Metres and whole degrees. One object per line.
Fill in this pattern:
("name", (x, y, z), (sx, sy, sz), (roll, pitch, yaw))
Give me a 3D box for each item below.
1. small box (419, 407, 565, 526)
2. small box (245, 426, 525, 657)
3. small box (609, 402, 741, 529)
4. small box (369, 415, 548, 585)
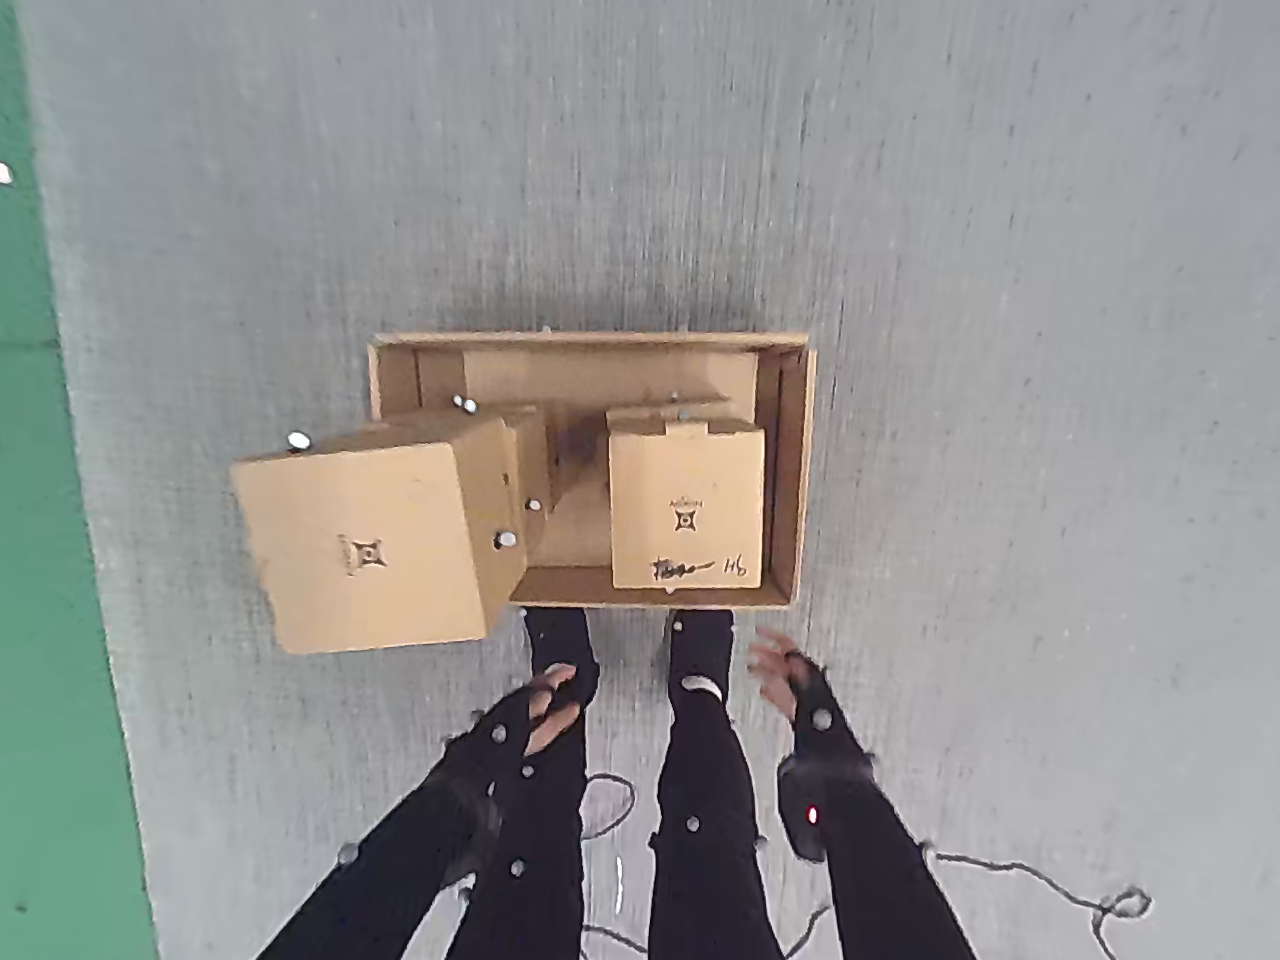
("small box", (-0.217, -0.023, 0.833), (0.179, 0.176, 0.168), (-3, 101, -1))
("small box", (-0.215, 0.045, 0.514), (0.179, 0.176, 0.168), (-6, 102, 2))
("small box", (0.053, -0.028, 0.825), (0.179, 0.176, 0.168), (-4, 101, 3))
("small box", (-0.210, 0.016, 0.673), (0.168, 0.176, 0.179), (1, 102, 0))
